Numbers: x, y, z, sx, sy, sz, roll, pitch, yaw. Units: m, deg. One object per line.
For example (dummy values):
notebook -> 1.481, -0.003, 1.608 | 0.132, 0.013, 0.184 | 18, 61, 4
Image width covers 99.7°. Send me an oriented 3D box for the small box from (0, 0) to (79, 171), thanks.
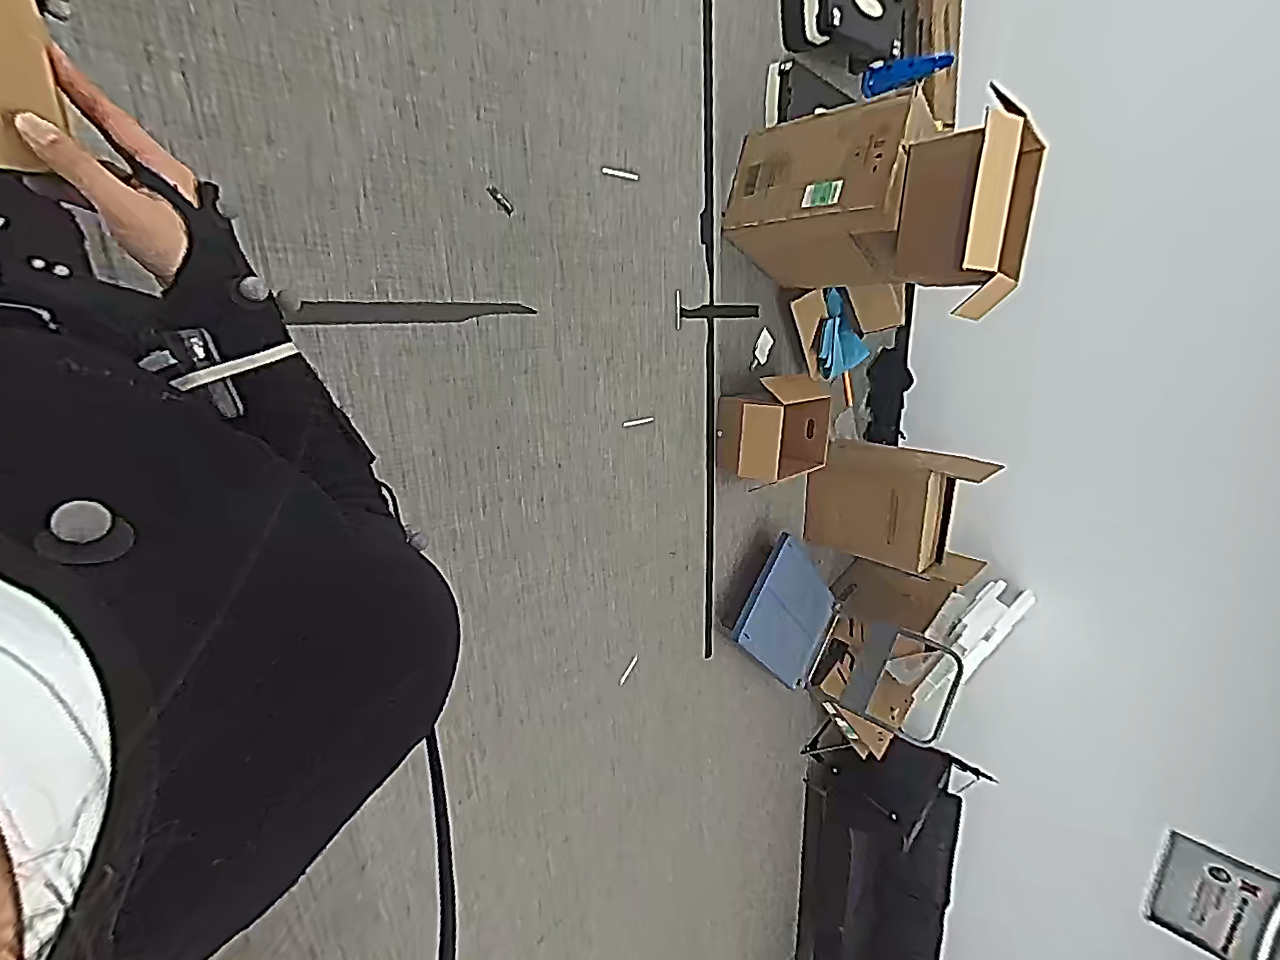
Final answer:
small box -> -0.416, -0.273, 0.259 | 0.179, 0.176, 0.168 | -13, 132, -40
